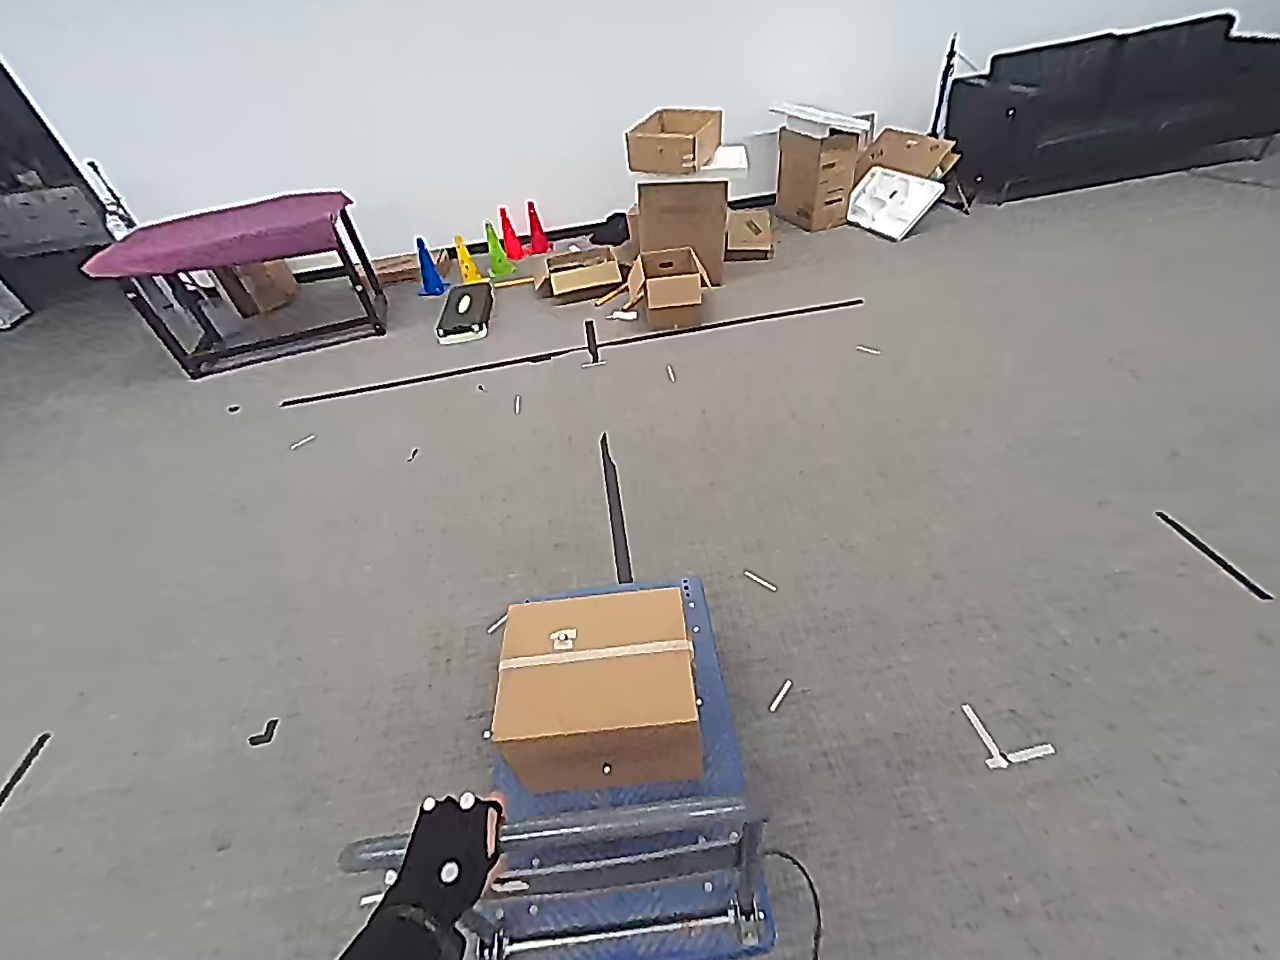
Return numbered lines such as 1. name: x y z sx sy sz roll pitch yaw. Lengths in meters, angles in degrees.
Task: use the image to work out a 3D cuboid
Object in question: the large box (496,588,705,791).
1. large box: -0.076 0.489 1.256 0.408 0.320 0.320 -8 41 2
